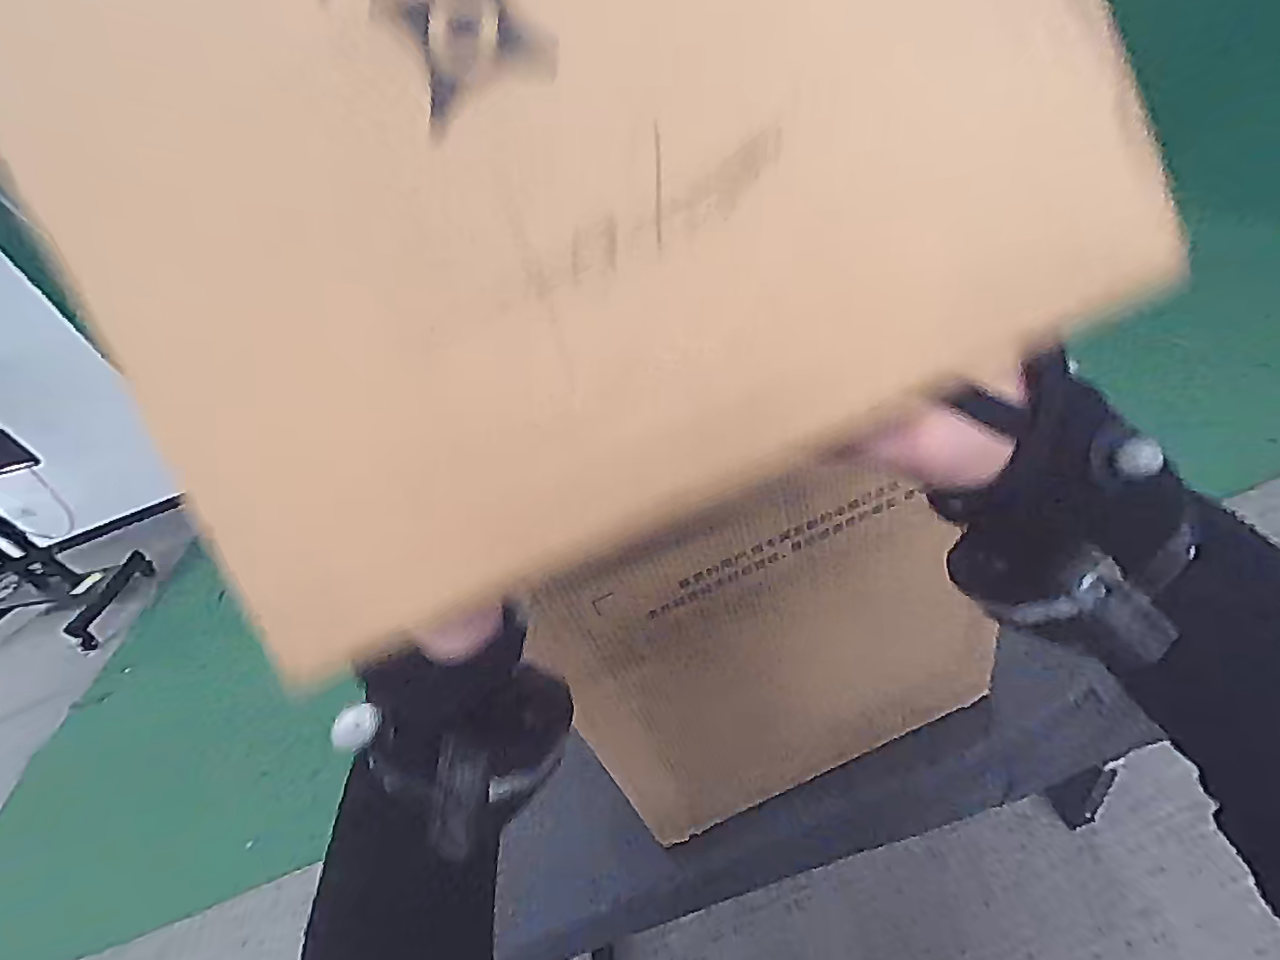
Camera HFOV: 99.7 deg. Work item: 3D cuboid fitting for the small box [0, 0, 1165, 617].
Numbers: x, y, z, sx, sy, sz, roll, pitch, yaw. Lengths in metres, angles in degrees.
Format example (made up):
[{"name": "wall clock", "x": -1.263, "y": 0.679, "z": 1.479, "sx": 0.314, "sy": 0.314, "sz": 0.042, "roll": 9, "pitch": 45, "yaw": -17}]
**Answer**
[{"name": "small box", "x": -0.020, "y": -0.090, "z": 0.168, "sx": 0.168, "sy": 0.179, "sz": 0.176, "roll": -25, "pitch": 3, "yaw": 7}]
